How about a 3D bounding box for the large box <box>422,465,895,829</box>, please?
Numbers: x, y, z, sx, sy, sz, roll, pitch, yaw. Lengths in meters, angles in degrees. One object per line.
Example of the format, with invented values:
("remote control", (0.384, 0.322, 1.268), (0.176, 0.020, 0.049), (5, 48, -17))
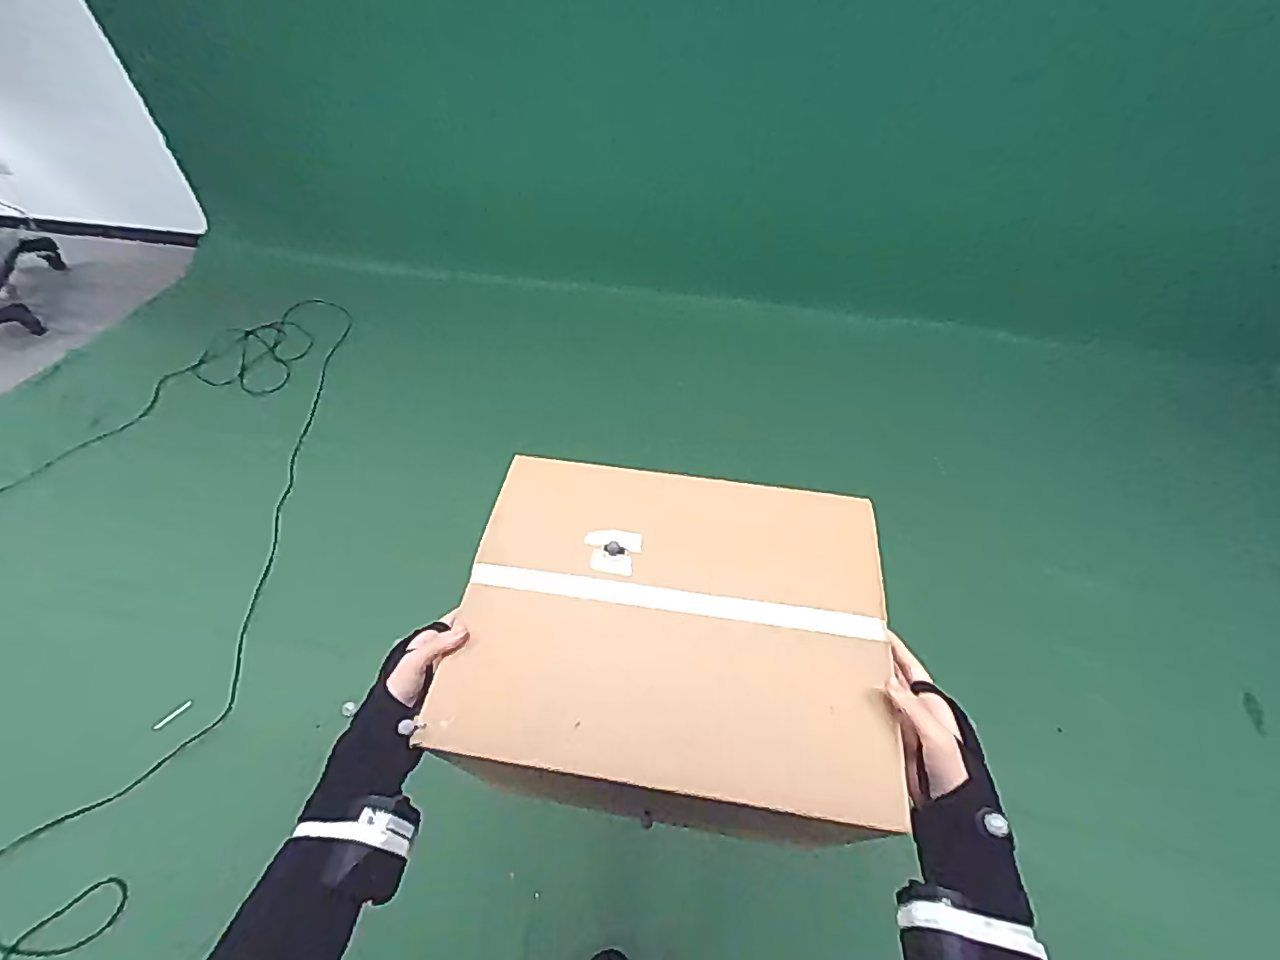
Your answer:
("large box", (0.033, 0.210, 0.652), (0.408, 0.320, 0.320), (7, 54, 6))
